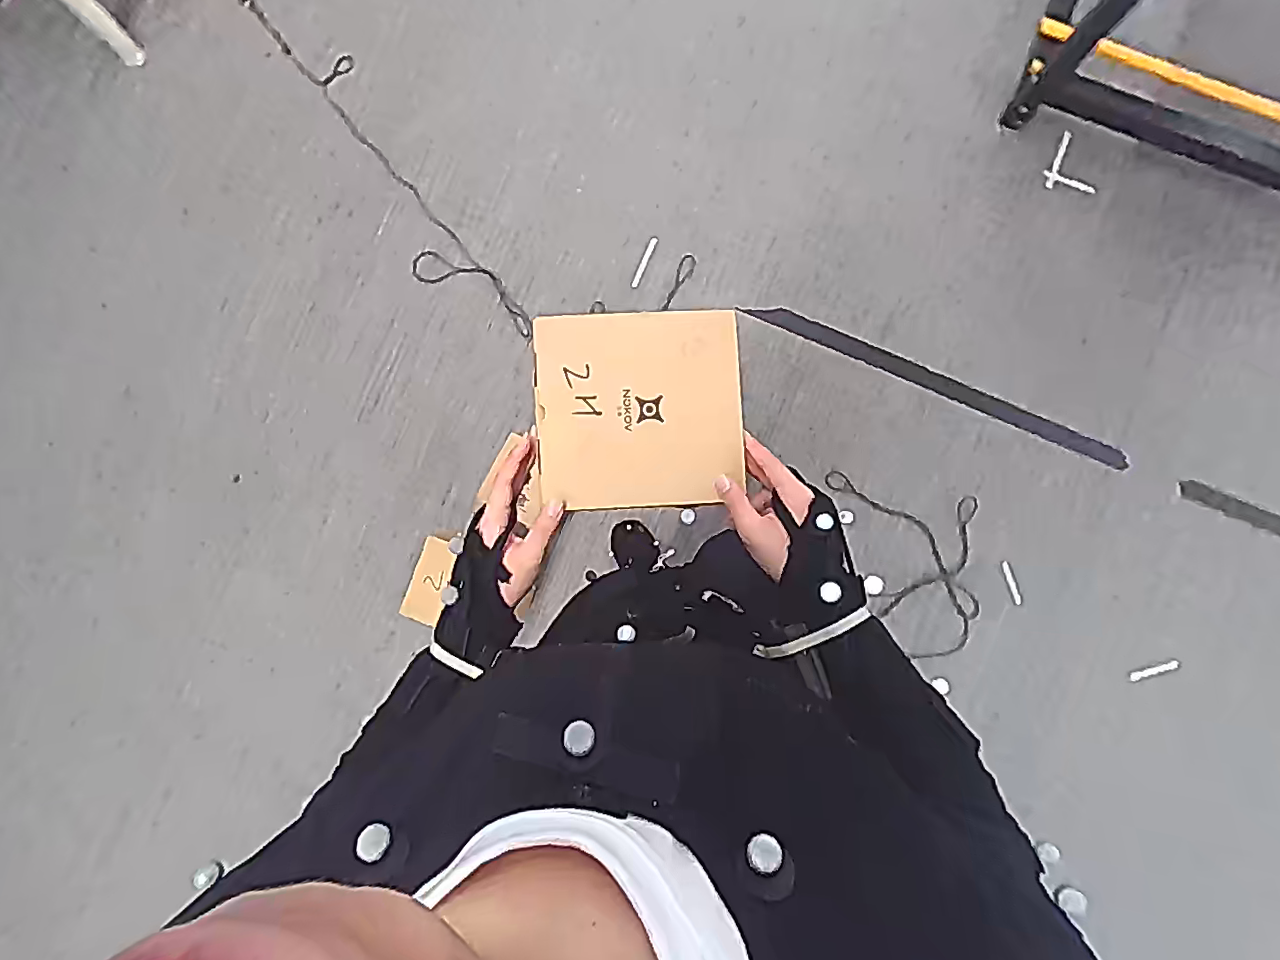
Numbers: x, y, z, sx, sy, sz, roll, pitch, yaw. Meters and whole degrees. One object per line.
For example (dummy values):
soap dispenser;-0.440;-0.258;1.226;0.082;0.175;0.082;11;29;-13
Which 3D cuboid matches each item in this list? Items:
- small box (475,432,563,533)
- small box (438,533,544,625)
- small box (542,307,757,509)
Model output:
small box;-0.256;0.009;1.285;0.168;0.176;0.179;28;89;2
small box;-0.345;0.225;1.283;0.179;0.176;0.168;16;89;2
small box;0.004;-0.057;0.524;0.179;0.176;0.168;-2;86;-2
